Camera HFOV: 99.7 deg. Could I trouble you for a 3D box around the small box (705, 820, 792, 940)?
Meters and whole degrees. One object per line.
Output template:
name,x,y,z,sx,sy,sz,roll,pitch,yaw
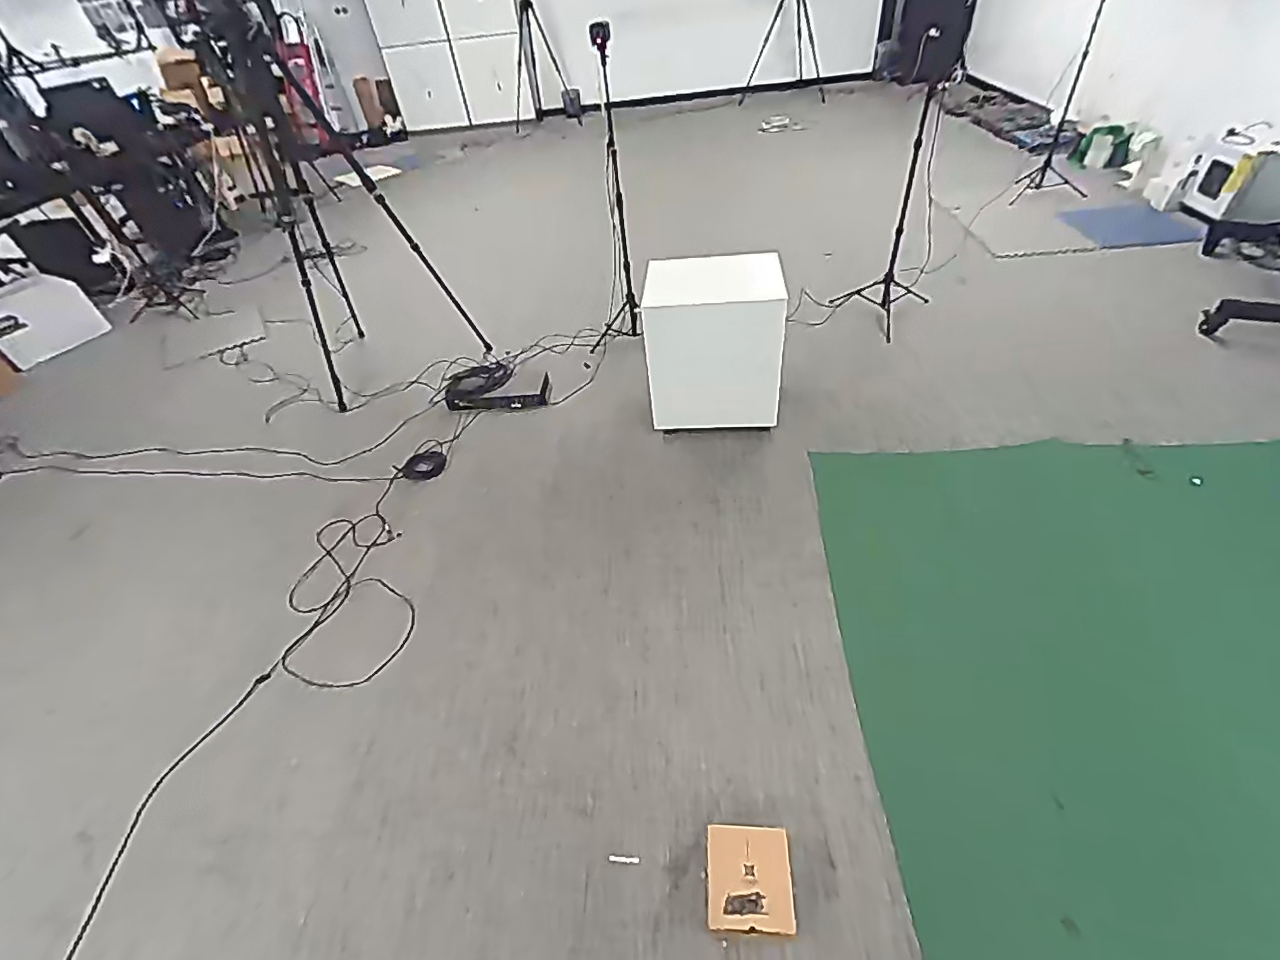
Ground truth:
small box,0.222,0.840,1.132,0.168,0.176,0.179,-1,44,7
